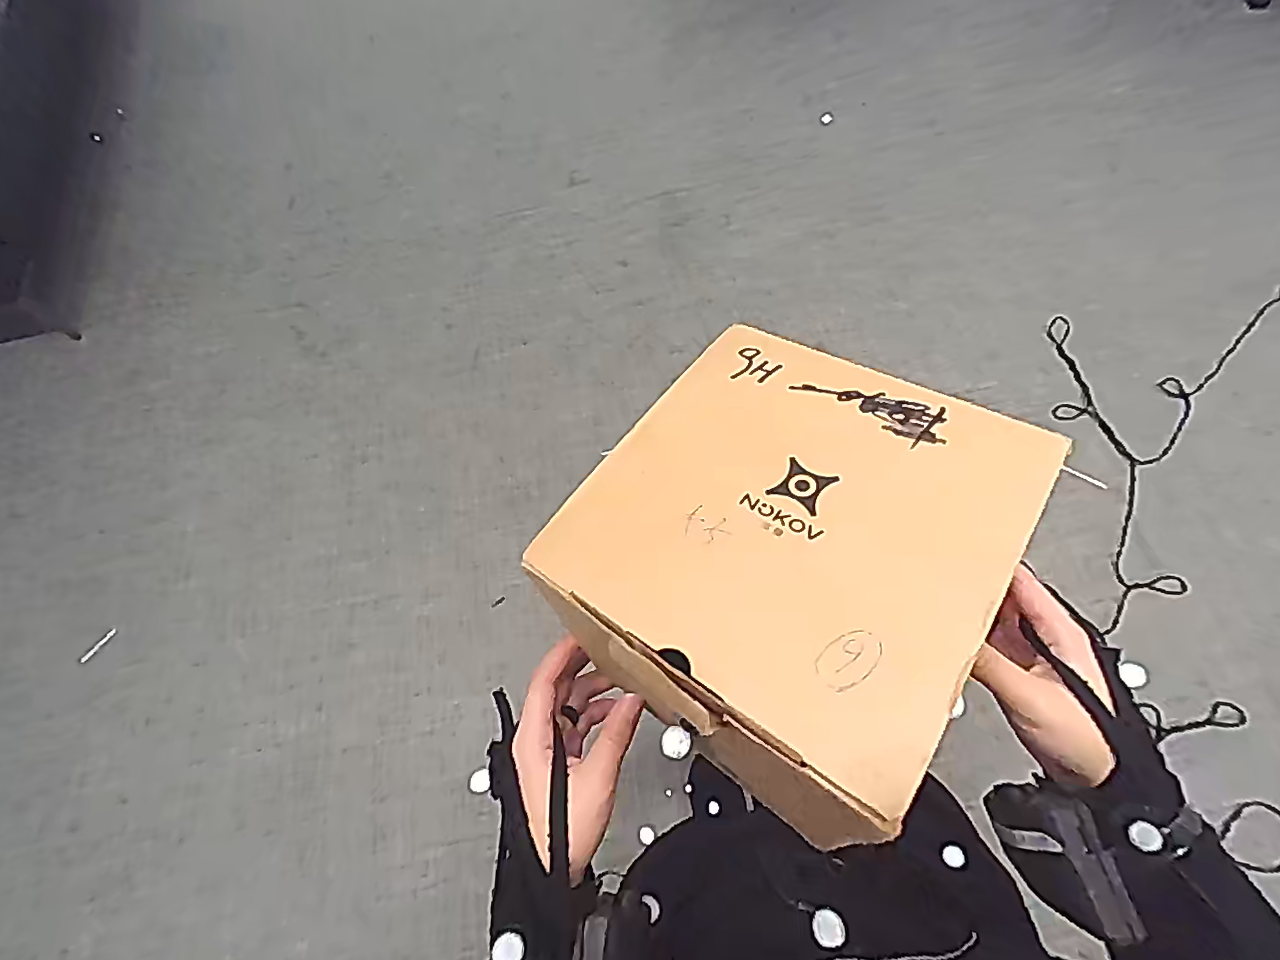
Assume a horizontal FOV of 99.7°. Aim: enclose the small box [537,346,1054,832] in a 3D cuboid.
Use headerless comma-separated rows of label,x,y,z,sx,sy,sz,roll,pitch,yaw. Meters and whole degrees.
small box,0.079,0.064,0.304,0.168,0.176,0.179,29,65,27
